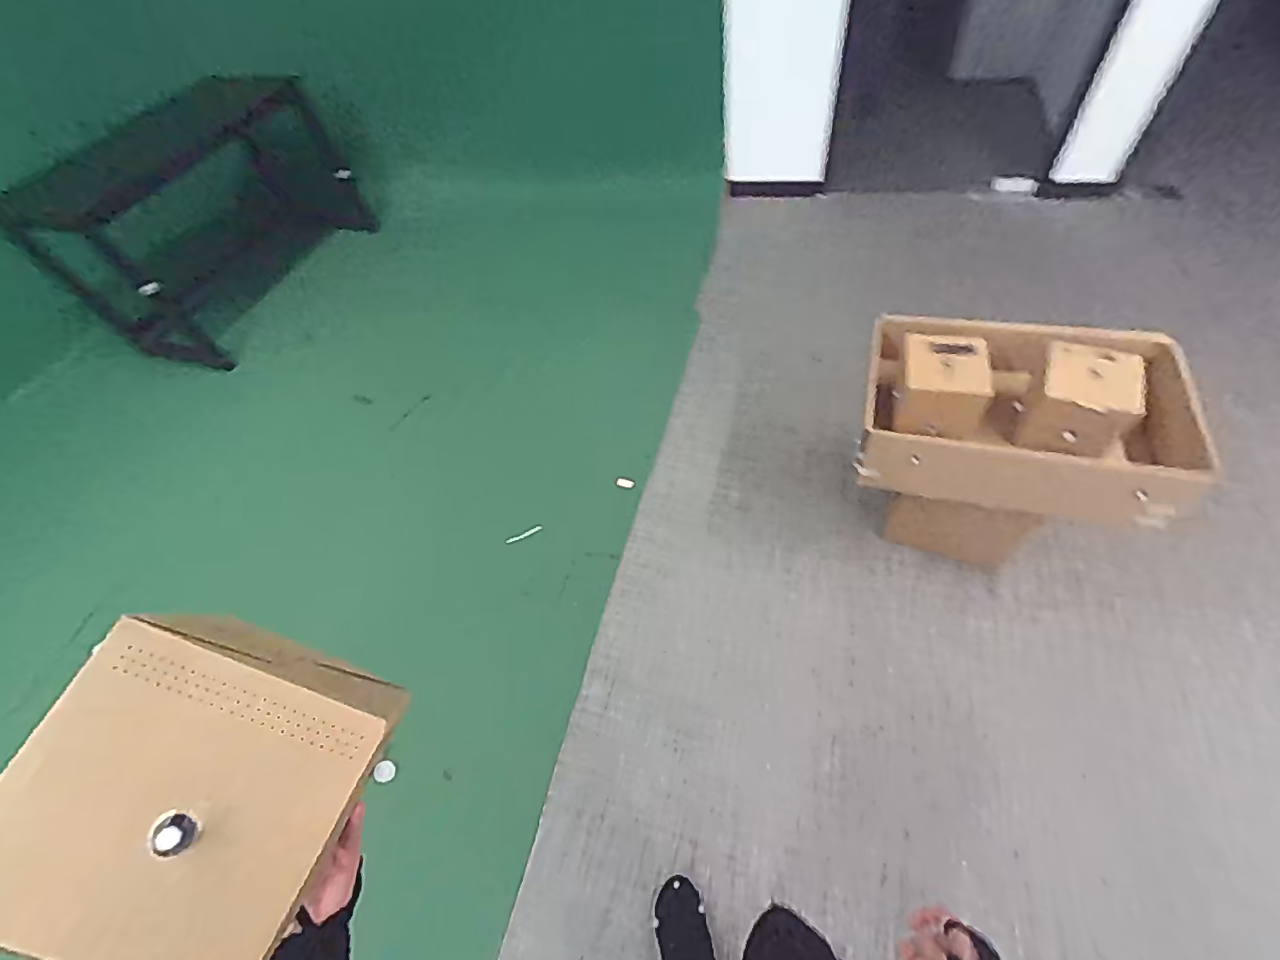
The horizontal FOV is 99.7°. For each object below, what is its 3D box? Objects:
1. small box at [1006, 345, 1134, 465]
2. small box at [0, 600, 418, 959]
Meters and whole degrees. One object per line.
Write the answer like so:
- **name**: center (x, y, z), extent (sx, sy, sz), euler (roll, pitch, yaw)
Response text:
- **small box**: center (0.934, -0.161, 1.186), extent (0.168, 0.176, 0.179), euler (19, 61, 20)
- **small box**: center (-0.288, 0.195, 0.385), extent (0.179, 0.168, 0.176), euler (28, 72, -9)
